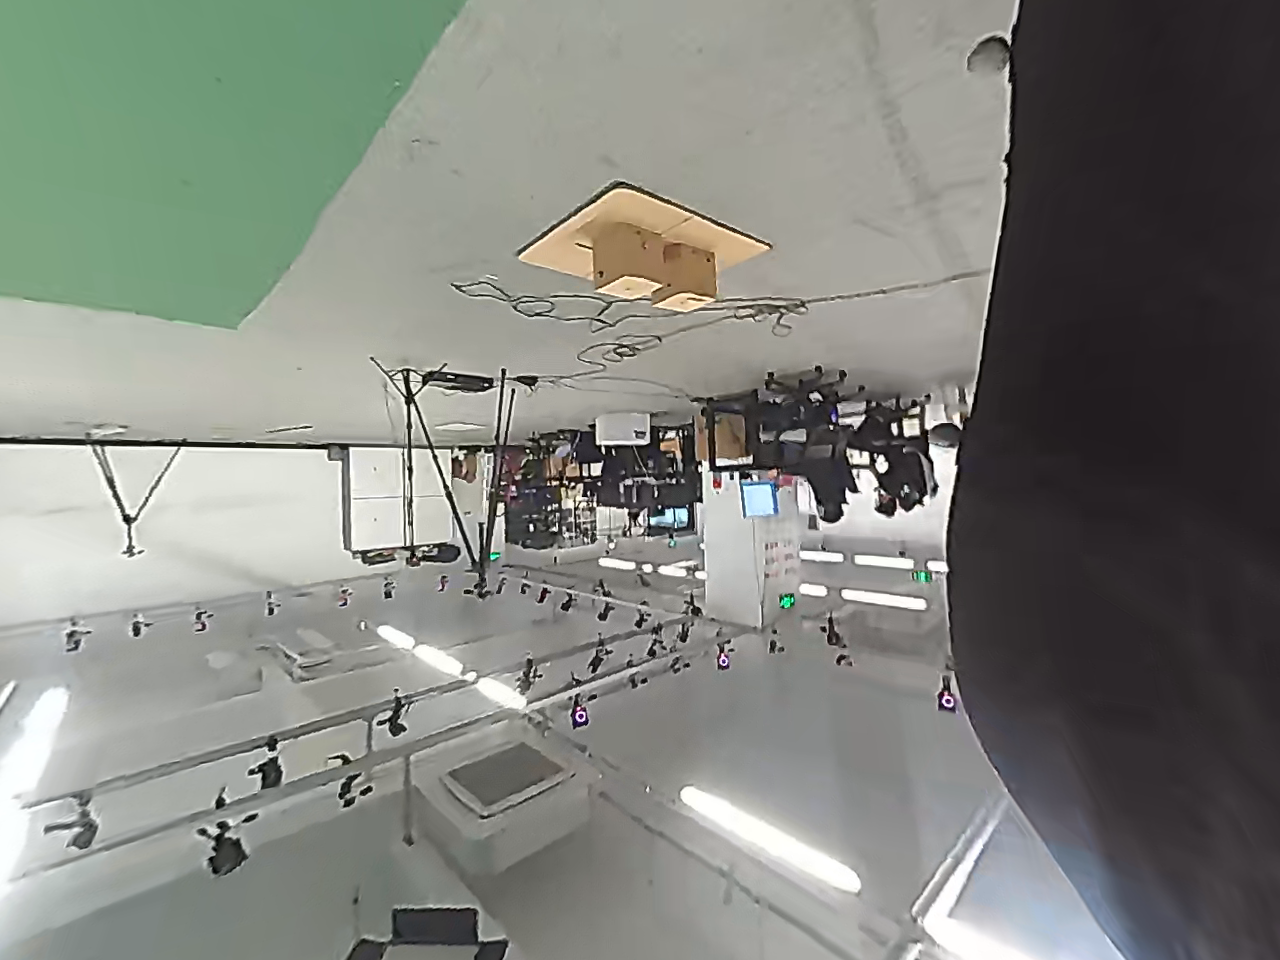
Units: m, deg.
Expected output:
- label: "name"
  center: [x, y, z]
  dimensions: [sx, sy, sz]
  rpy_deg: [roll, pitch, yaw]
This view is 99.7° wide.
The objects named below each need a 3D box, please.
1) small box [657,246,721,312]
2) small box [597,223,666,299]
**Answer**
- label: "small box"
  center: [0.170, -0.724, 1.954]
  dimensions: [0.168, 0.176, 0.179]
  rpy_deg: [-2, 180, -36]
- label: "small box"
  center: [-0.028, -0.723, 1.798]
  dimensions: [0.168, 0.176, 0.179]
  rpy_deg: [-3, 180, -40]
